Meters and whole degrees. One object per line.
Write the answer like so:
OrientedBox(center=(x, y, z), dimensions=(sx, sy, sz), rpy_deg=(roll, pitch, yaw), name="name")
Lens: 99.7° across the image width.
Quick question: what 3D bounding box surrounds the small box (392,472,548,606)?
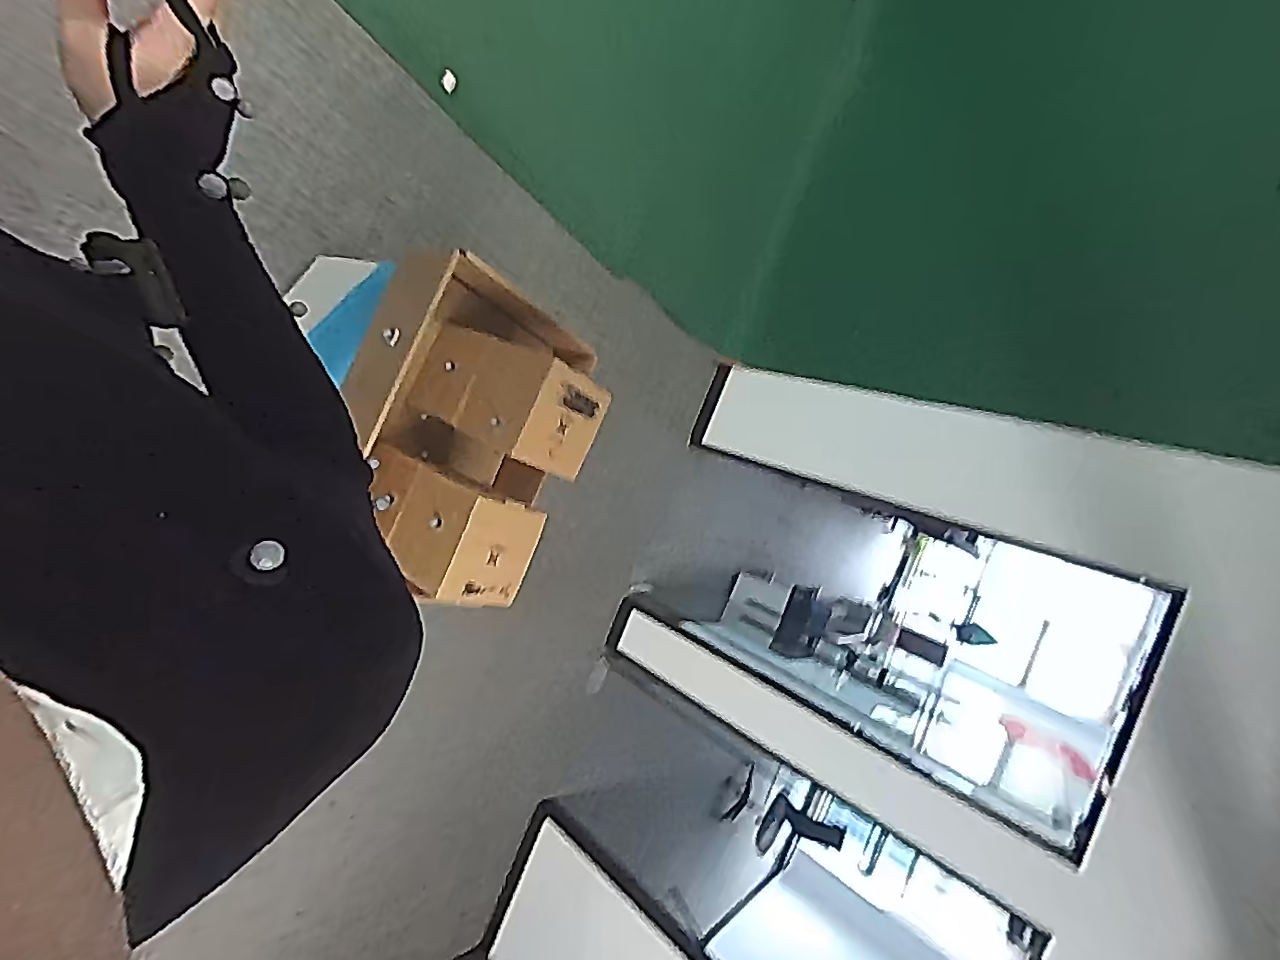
OrientedBox(center=(-0.299, 0.101, 0.943), dimensions=(0.168, 0.176, 0.179), rpy_deg=(26, 85, -53), name="small box")
